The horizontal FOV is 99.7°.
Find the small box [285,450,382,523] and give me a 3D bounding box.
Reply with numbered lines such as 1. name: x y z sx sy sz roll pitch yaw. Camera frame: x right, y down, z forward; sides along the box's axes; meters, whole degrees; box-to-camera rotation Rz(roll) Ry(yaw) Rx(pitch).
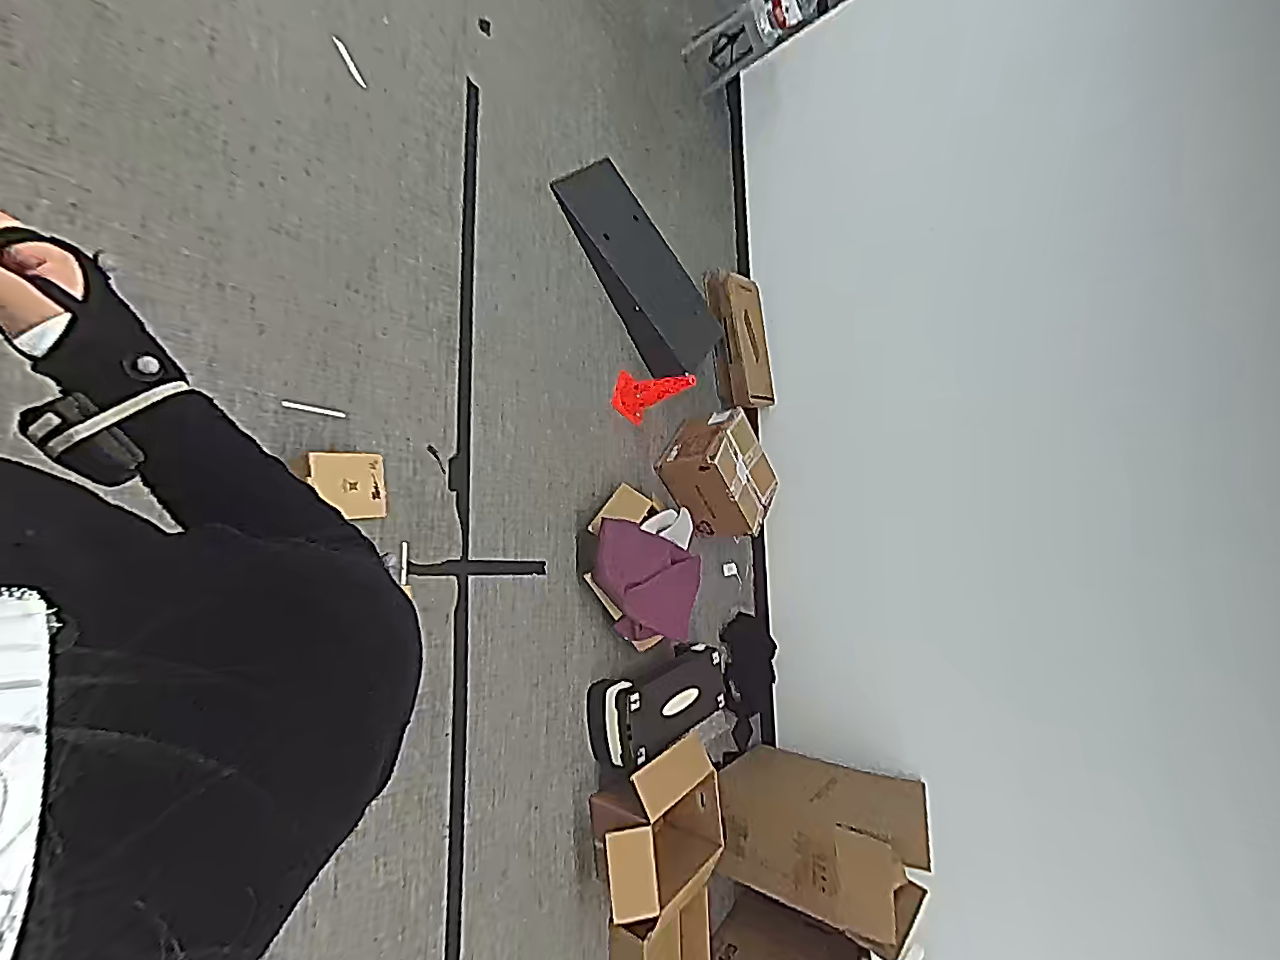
1. small box: -0.786 0.020 1.381 0.179 0.176 0.168 0 84 -50
